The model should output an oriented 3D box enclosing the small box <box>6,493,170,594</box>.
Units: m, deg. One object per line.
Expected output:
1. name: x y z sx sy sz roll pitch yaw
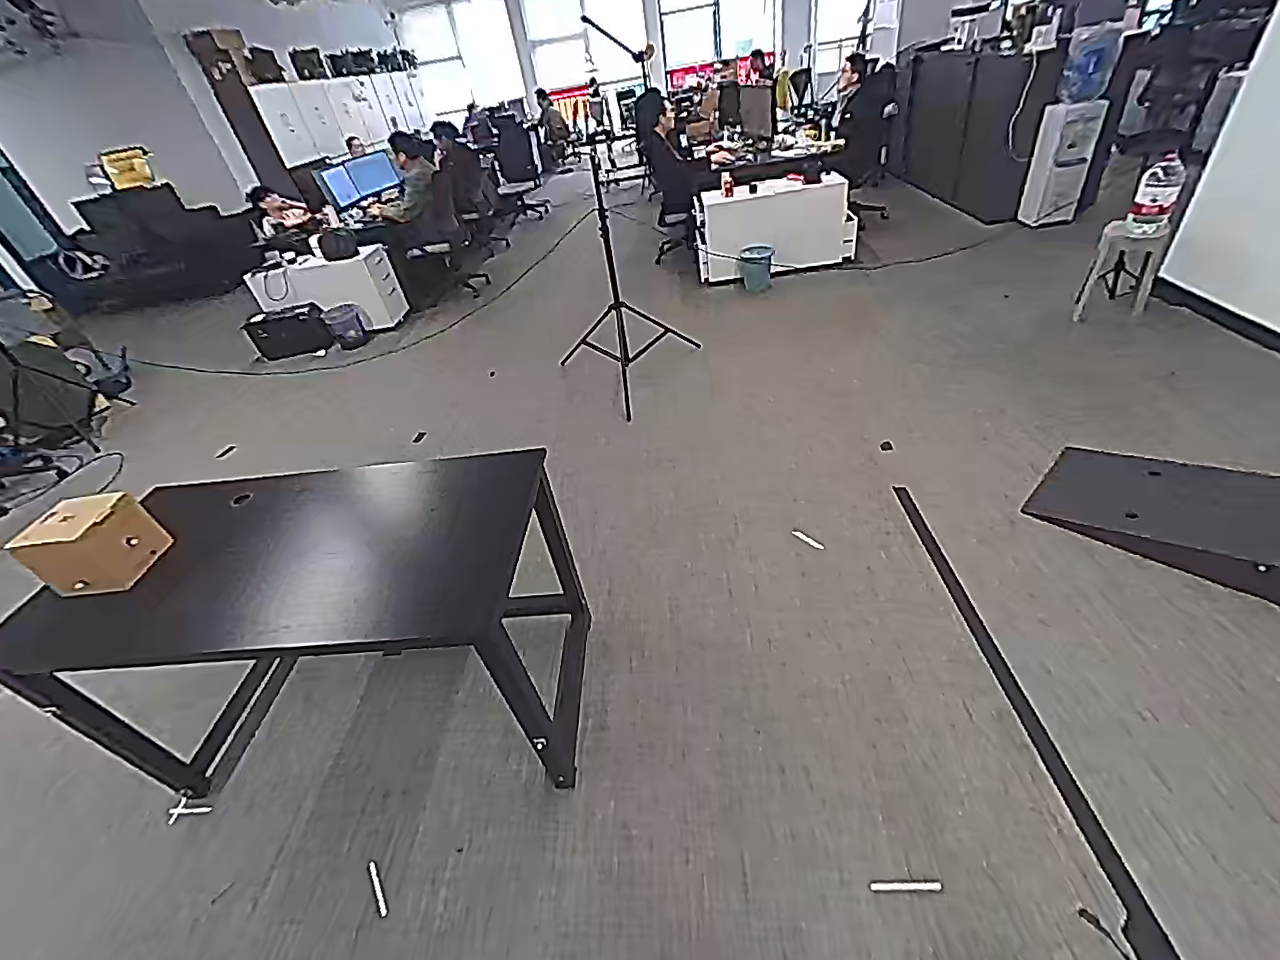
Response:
1. small box: -1.291 0.153 1.284 0.179 0.176 0.168 -6 37 4
